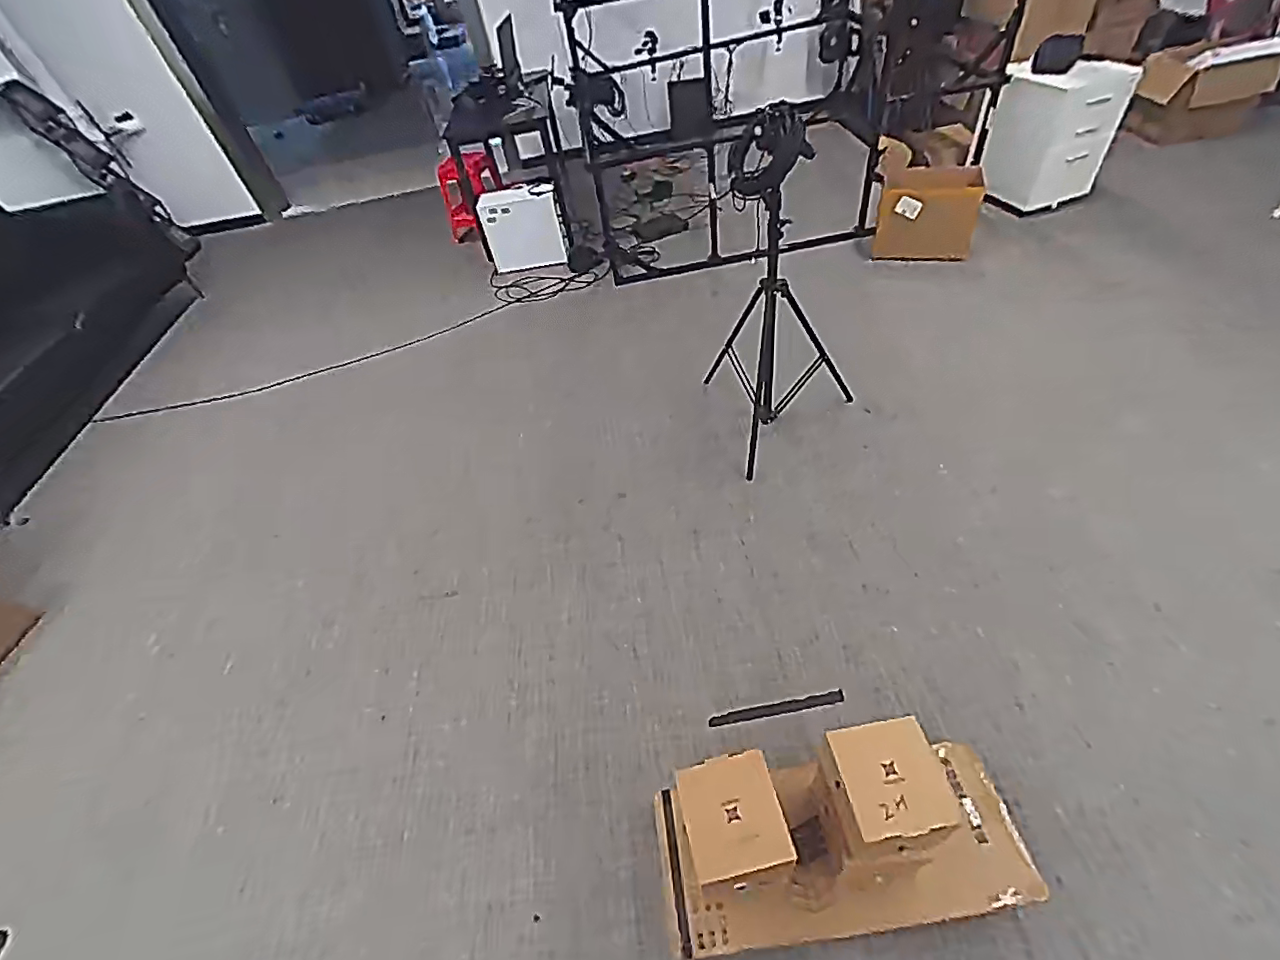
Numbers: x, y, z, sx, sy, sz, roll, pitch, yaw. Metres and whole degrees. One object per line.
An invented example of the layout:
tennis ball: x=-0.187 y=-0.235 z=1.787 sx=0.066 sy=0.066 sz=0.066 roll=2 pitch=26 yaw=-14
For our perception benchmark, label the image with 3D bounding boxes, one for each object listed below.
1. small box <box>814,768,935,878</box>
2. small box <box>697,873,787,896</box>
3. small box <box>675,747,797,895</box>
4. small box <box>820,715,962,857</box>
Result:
small box: x=0.459 y=0.680 z=1.092 sx=0.168 sy=0.176 sz=0.179 roll=-9 pitch=47 yaw=4
small box: x=0.195 y=0.728 z=1.098 sx=0.168 sy=0.176 sz=0.179 roll=-10 pitch=47 yaw=3
small box: x=0.168 y=0.618 z=0.979 sx=0.168 sy=0.176 sz=0.179 roll=-15 pitch=47 yaw=-2
small box: x=0.438 y=0.556 z=0.982 sx=0.168 sy=0.176 sz=0.179 roll=-11 pitch=46 yaw=1
